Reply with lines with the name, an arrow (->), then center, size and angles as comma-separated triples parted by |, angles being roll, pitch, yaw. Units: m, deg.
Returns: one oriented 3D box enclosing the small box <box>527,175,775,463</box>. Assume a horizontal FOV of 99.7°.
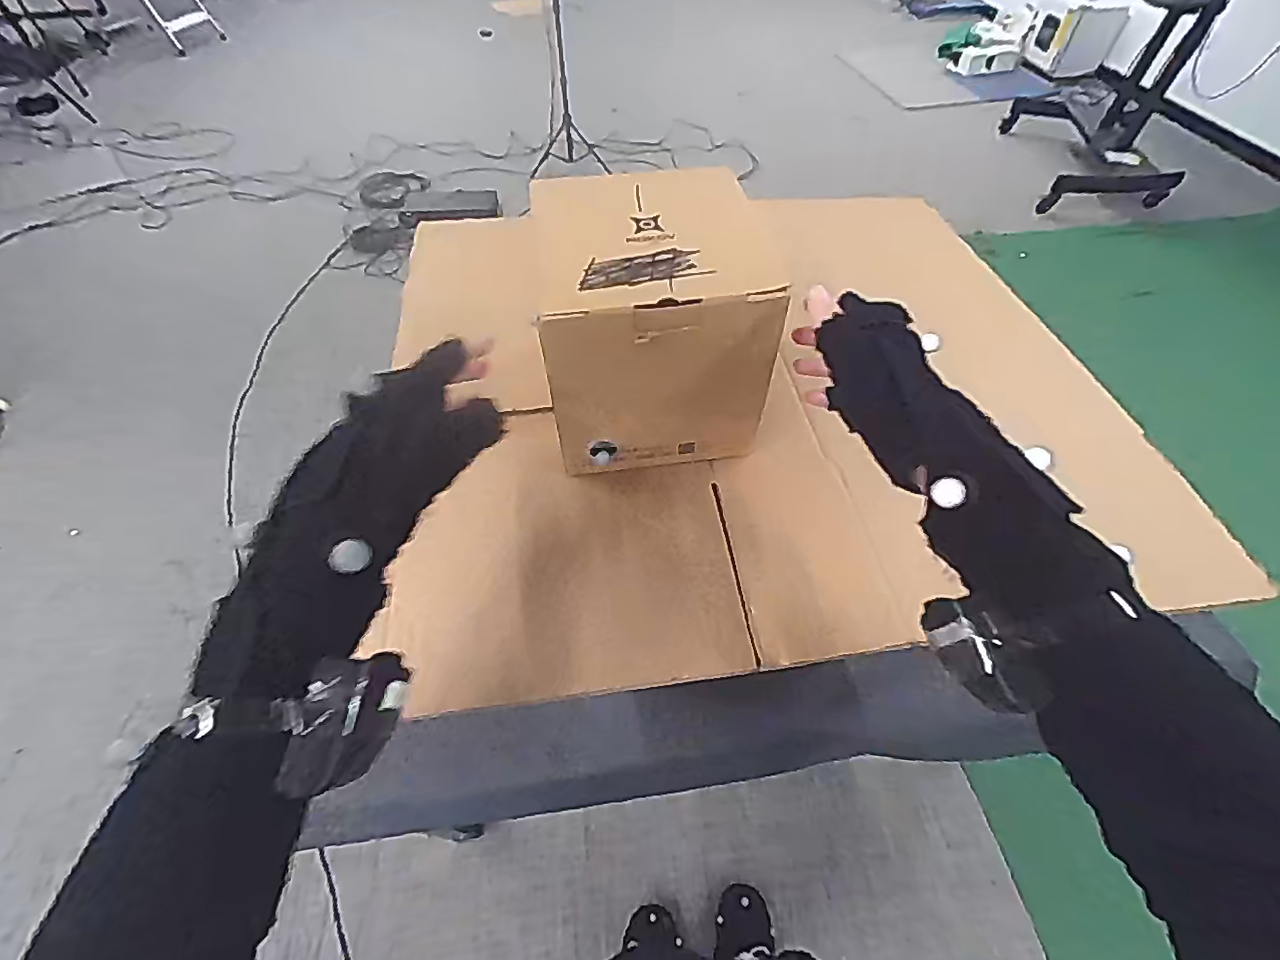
small box -> 0.001, -0.128, 0.462 | 0.168, 0.176, 0.179 | -7, 54, -4
